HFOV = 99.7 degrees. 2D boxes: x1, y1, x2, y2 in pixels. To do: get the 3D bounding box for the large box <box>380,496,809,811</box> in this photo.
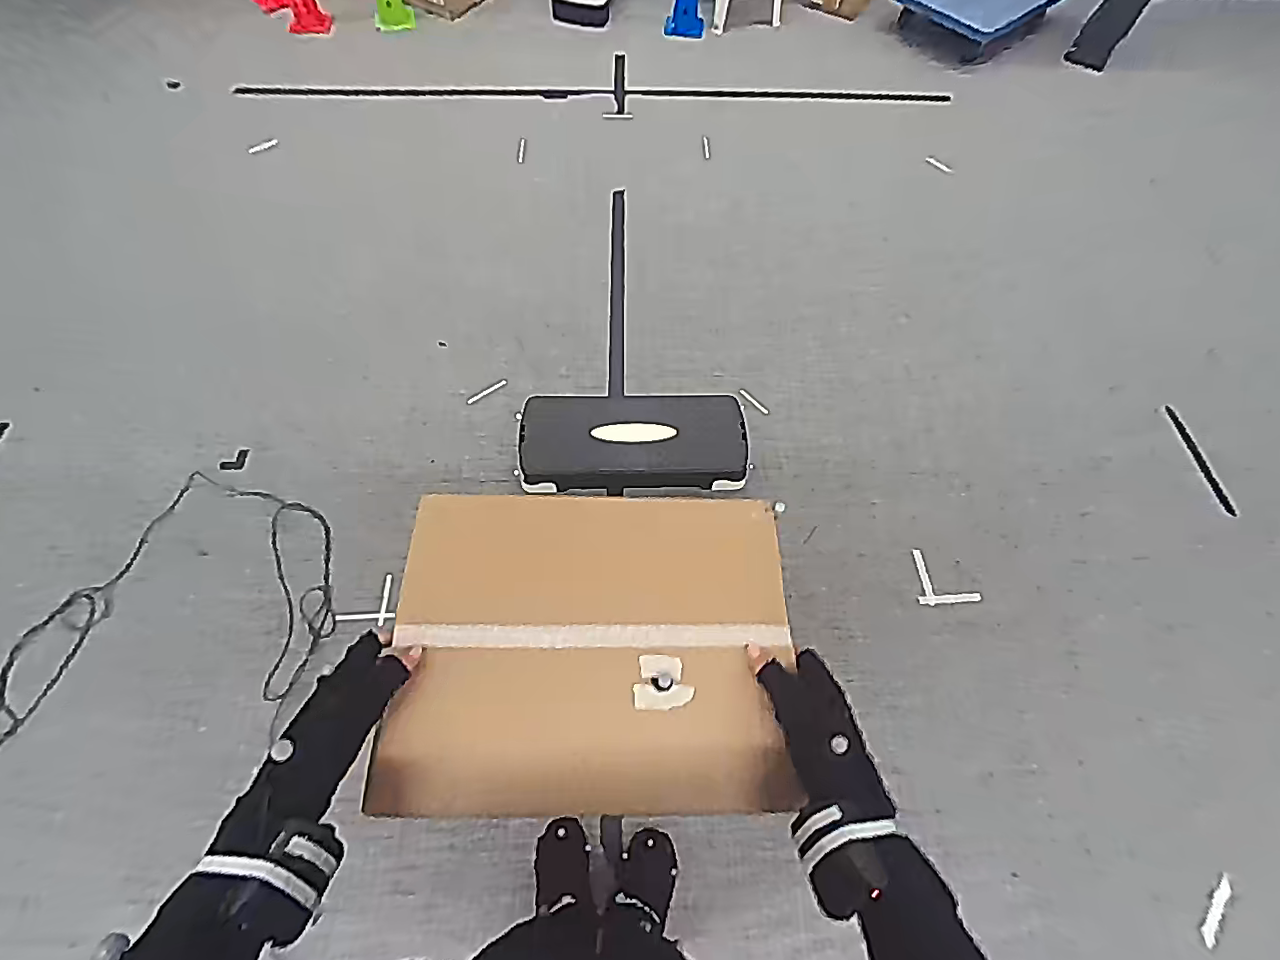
[{"bbox_3d":[-0.051,0.225,0.693,0.408,0.320,0.320,1,64,-4],"label":"large box"}]
